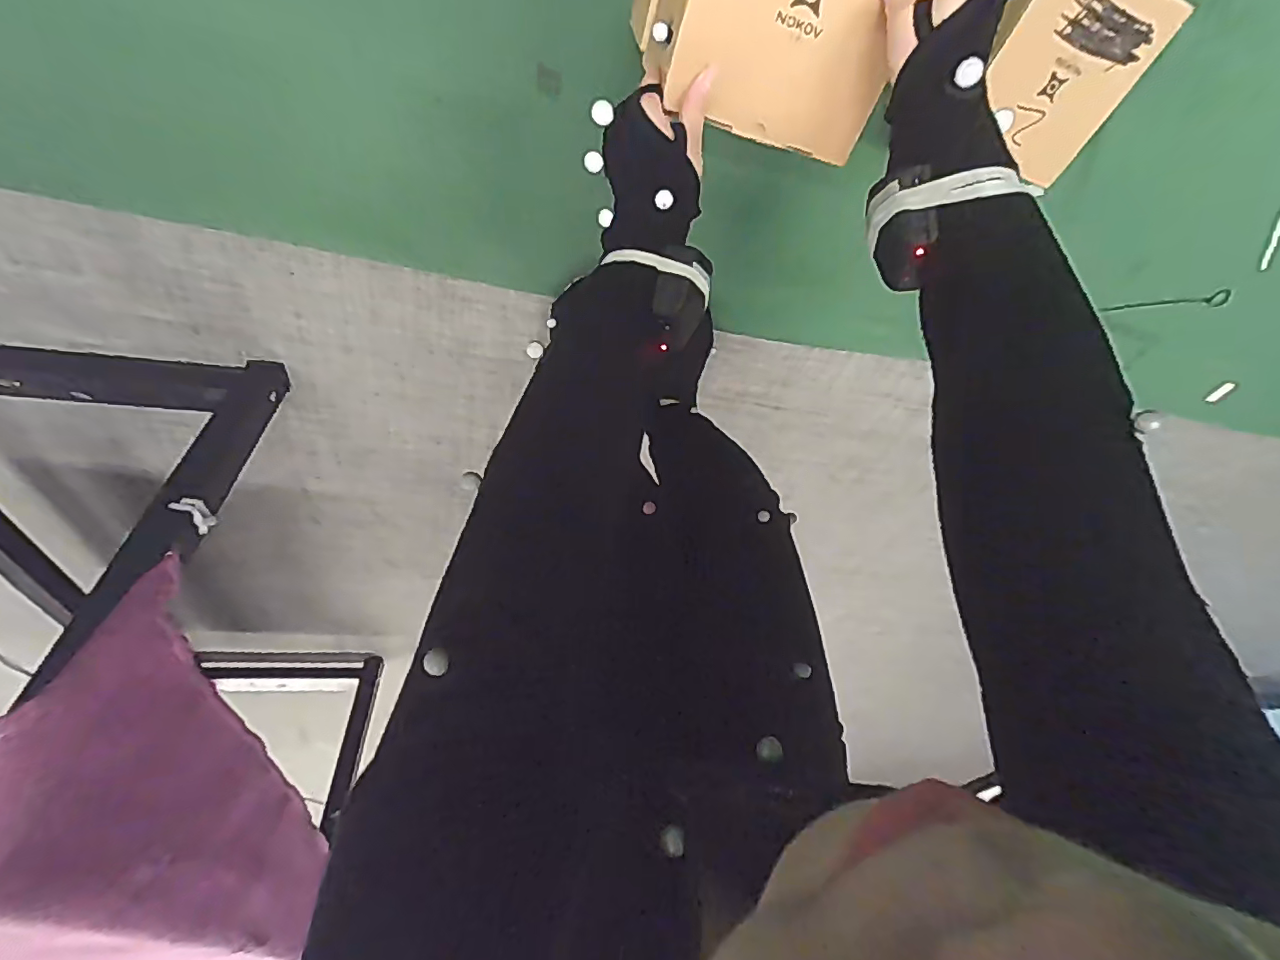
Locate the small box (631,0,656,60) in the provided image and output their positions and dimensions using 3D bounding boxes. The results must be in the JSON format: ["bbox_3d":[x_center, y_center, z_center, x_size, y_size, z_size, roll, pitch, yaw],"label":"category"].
[{"bbox_3d":[0.096,-0.510,0.540,0.179,0.176,0.168,9,135,-13],"label":"small box"}]

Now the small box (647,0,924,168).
[{"bbox_3d":[0.108,-0.390,0.431,0.168,0.176,0.179,8,136,-14],"label":"small box"}]
